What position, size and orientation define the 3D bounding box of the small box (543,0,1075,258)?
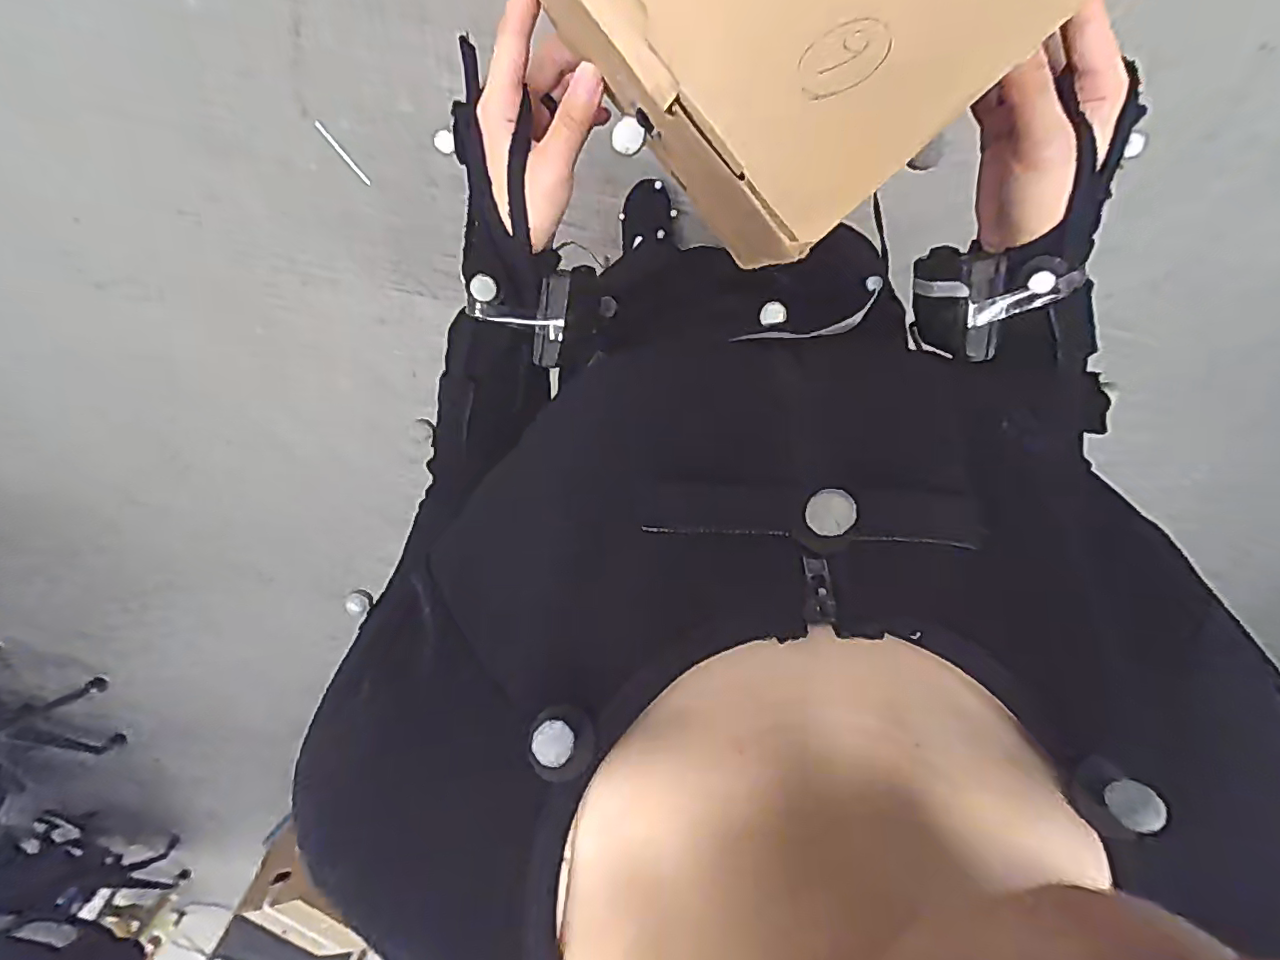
[{"bbox_3d":[0.063,-0.206,0.206,0.179,0.176,0.168,-39,102,18],"label":"small box"}]
